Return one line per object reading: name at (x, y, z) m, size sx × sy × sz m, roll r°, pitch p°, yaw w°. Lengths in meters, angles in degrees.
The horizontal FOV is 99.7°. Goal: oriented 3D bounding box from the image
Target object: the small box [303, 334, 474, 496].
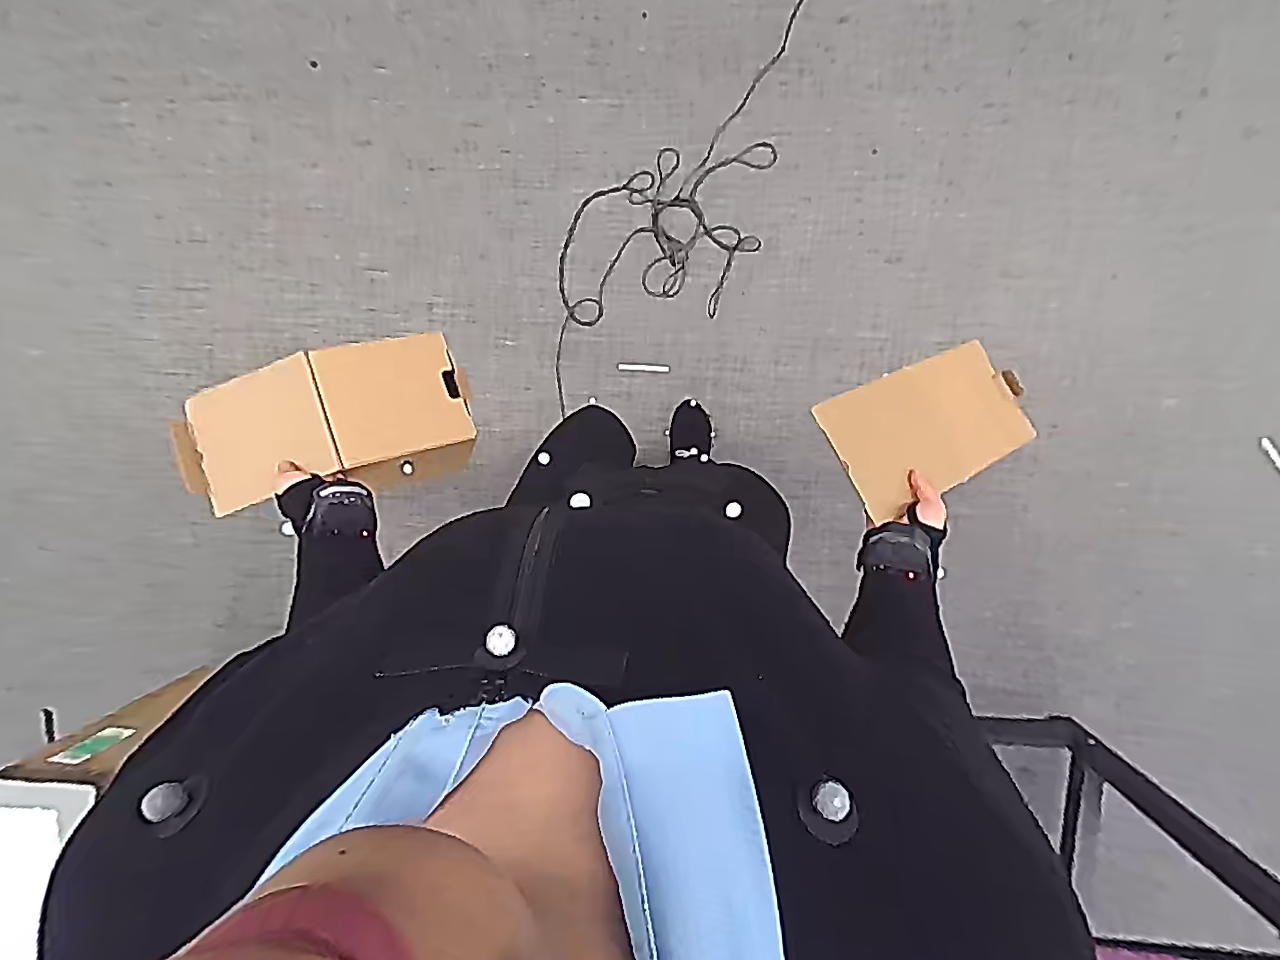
small box at (-0.359, -0.088, 0.786) m, size 0.179 × 0.176 × 0.168 m, roll -17°, pitch 82°, yaw -27°
